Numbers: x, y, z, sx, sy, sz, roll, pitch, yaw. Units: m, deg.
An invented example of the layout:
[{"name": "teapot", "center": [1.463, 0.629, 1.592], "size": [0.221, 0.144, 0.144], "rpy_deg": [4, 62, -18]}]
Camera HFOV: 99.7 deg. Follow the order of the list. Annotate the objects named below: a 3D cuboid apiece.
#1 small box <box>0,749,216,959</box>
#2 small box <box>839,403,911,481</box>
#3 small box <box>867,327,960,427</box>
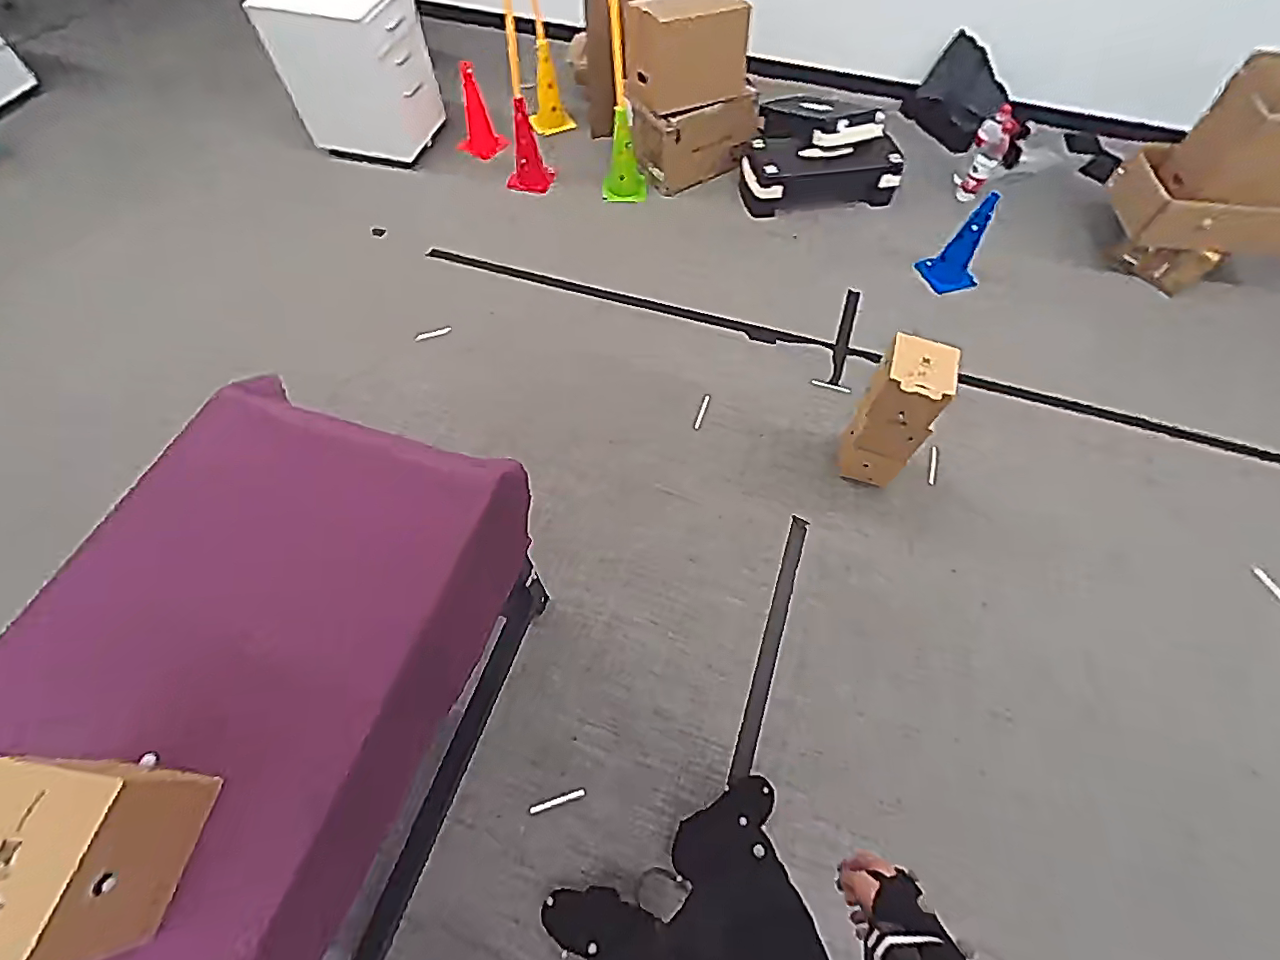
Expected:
[{"name": "small box", "center": [-0.653, 0.423, 0.626], "size": [0.168, 0.176, 0.179], "rpy_deg": [7, 61, 4]}, {"name": "small box", "center": [0.760, -0.117, 1.757], "size": [0.168, 0.176, 0.179], "rpy_deg": [14, 62, 7]}, {"name": "small box", "center": [0.736, -0.275, 1.467], "size": [0.168, 0.176, 0.179], "rpy_deg": [19, 63, 9]}]
